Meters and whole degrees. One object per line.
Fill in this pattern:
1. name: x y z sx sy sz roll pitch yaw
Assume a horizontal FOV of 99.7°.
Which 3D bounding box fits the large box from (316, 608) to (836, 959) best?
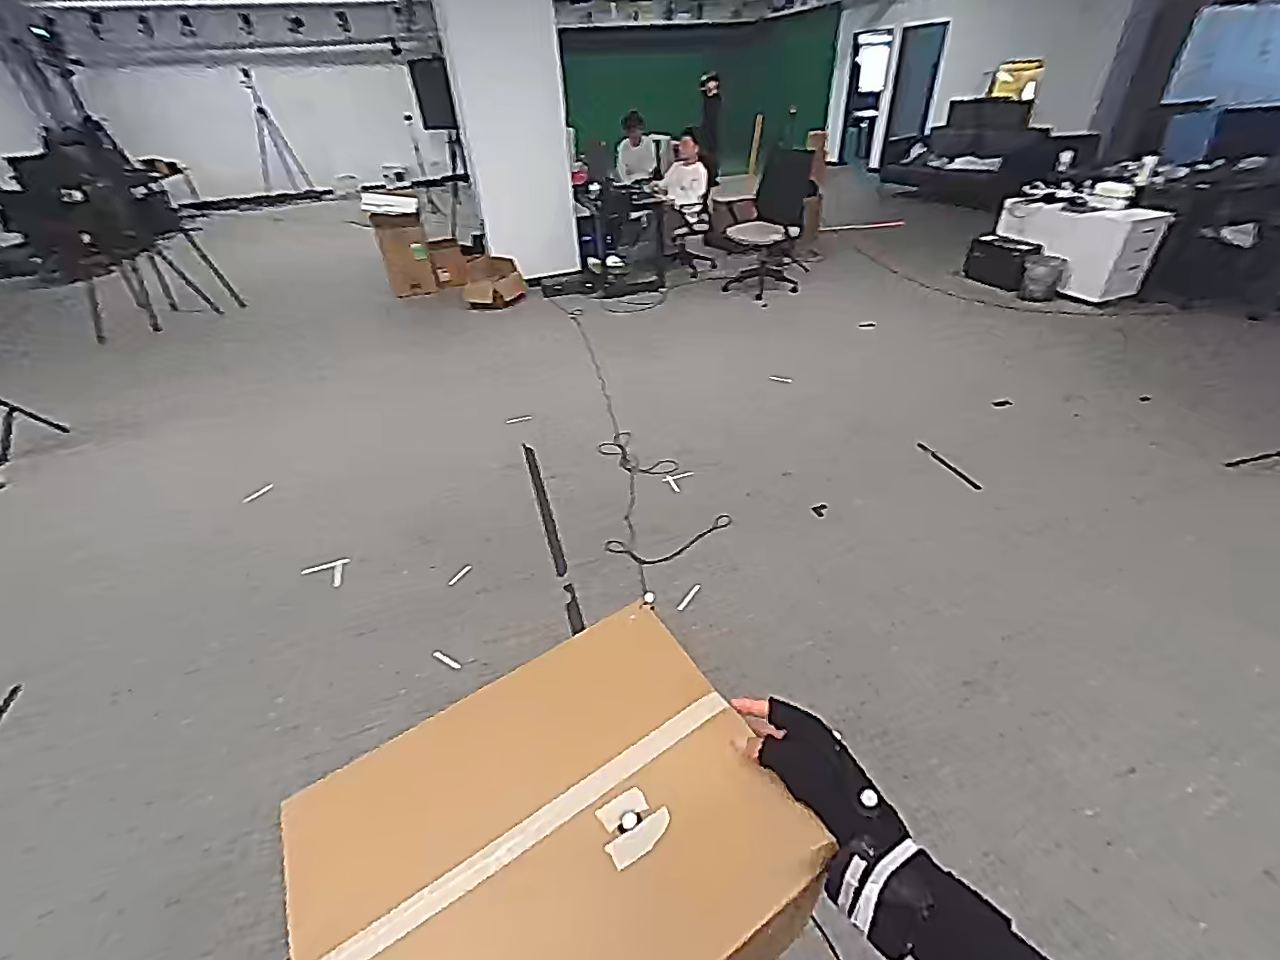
1. large box: -0.061 0.427 0.592 0.408 0.320 0.320 -25 44 -20
